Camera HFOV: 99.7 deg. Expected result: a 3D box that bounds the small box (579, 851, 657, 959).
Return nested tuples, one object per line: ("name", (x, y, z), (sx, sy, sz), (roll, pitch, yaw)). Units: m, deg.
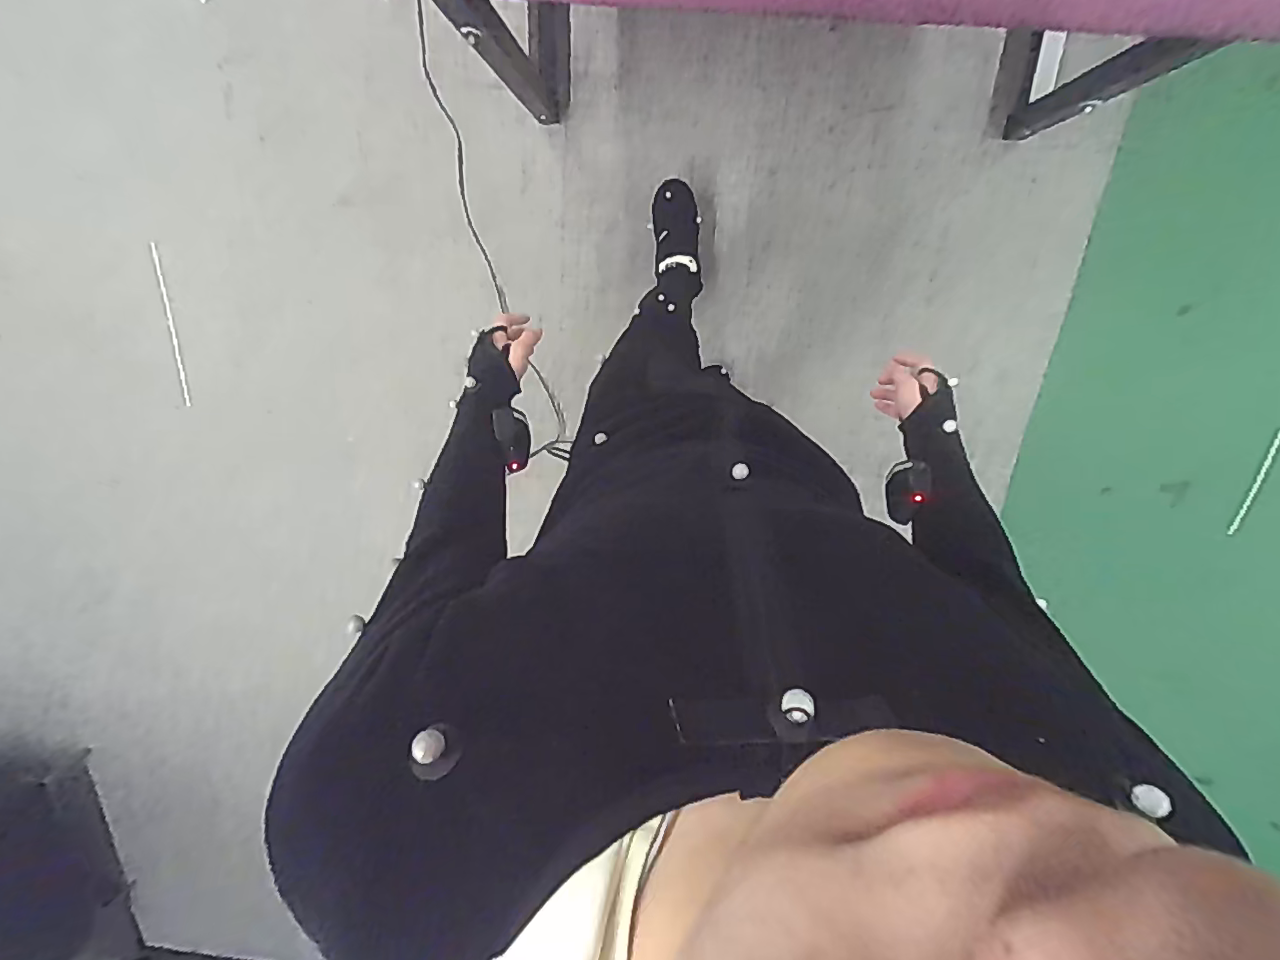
("small box", (-0.052, 1.119, 1.413), (0.168, 0.176, 0.179), (13, 110, 1))
